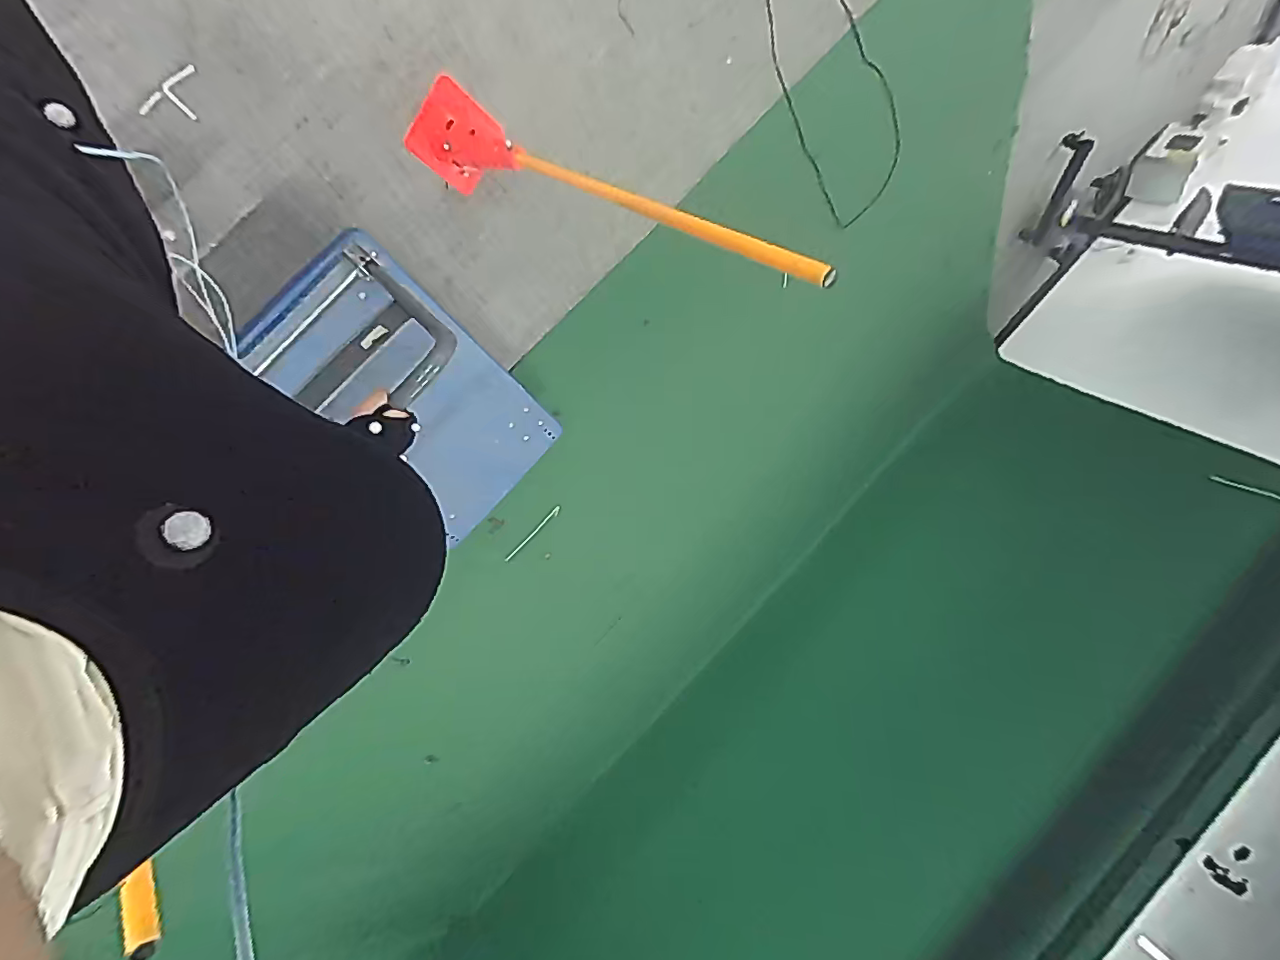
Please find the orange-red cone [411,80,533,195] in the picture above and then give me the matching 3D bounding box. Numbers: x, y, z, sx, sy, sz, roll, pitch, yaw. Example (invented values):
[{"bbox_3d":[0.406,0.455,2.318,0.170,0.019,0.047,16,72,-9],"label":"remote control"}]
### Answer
[{"bbox_3d":[-0.355,-0.781,1.273,0.198,0.360,0.199,25,101,-52],"label":"orange-red cone"}]
